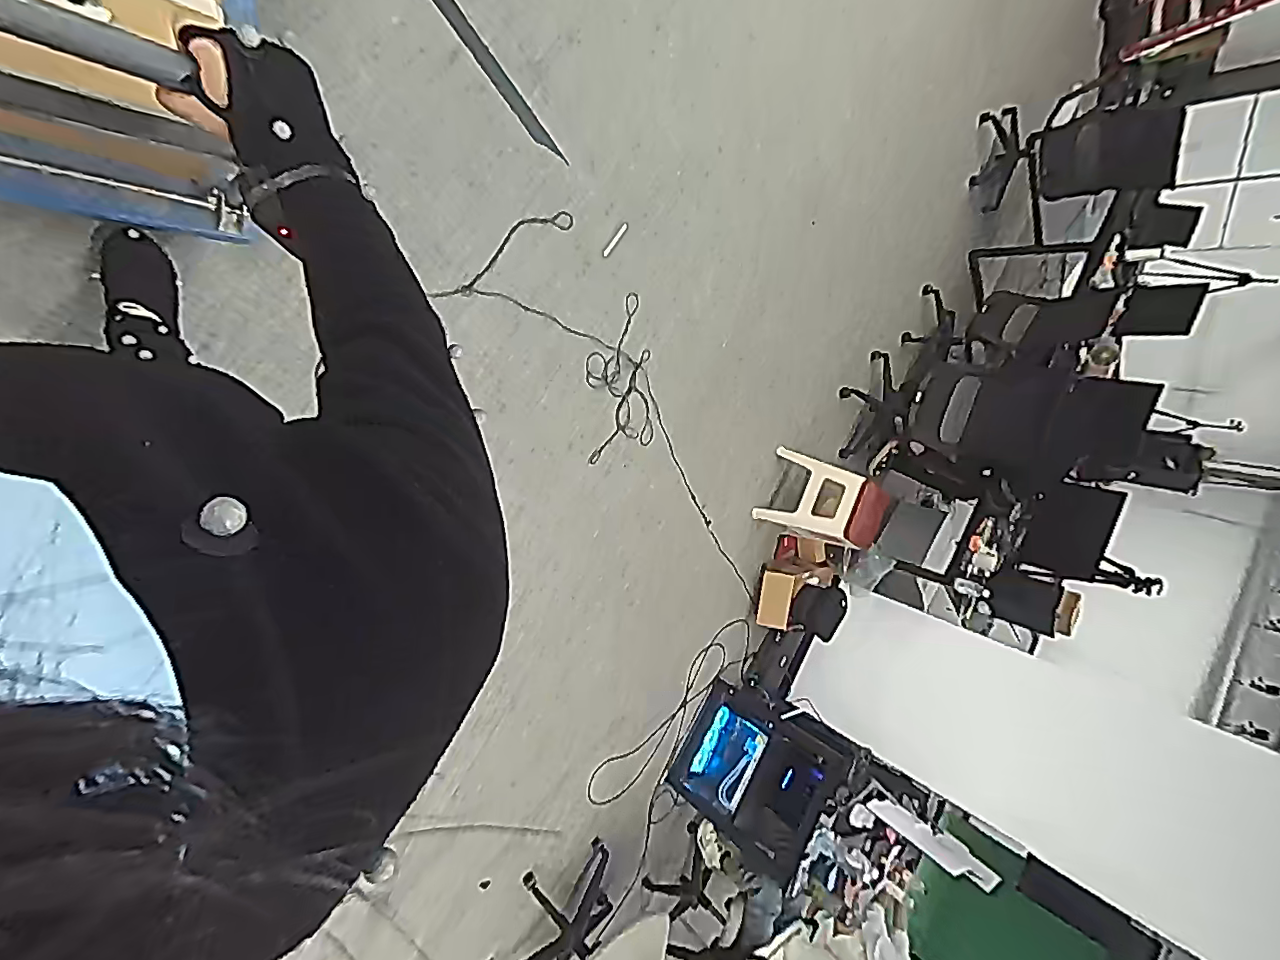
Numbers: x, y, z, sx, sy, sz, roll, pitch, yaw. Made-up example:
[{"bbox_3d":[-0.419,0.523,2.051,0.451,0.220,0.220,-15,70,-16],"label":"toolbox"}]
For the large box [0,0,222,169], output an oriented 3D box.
[{"bbox_3d":[-0.807,-0.642,0.677,0.408,0.320,0.320,-5,107,-45],"label":"large box"}]
